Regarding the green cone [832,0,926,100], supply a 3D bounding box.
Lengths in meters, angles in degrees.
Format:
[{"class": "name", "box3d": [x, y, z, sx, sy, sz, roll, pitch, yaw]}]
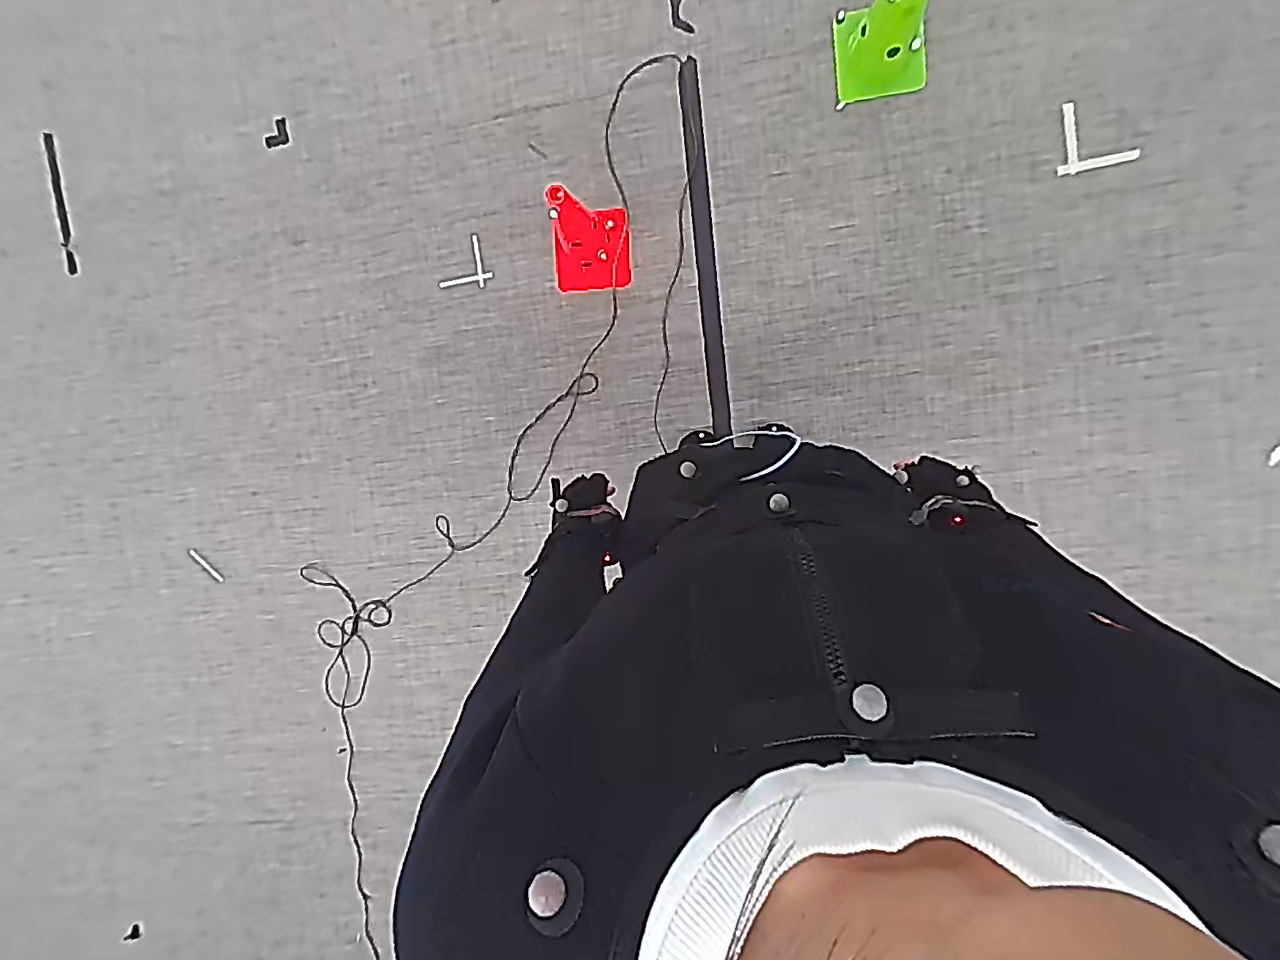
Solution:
[{"class": "green cone", "box3d": [0.540, -0.991, 1.099, 0.202, 0.368, 0.200, -6, 95, 7]}]

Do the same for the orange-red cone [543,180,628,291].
[{"class": "orange-red cone", "box3d": [-0.151, -0.581, 1.232, 0.199, 0.360, 0.198, -1, 94, 8]}]
